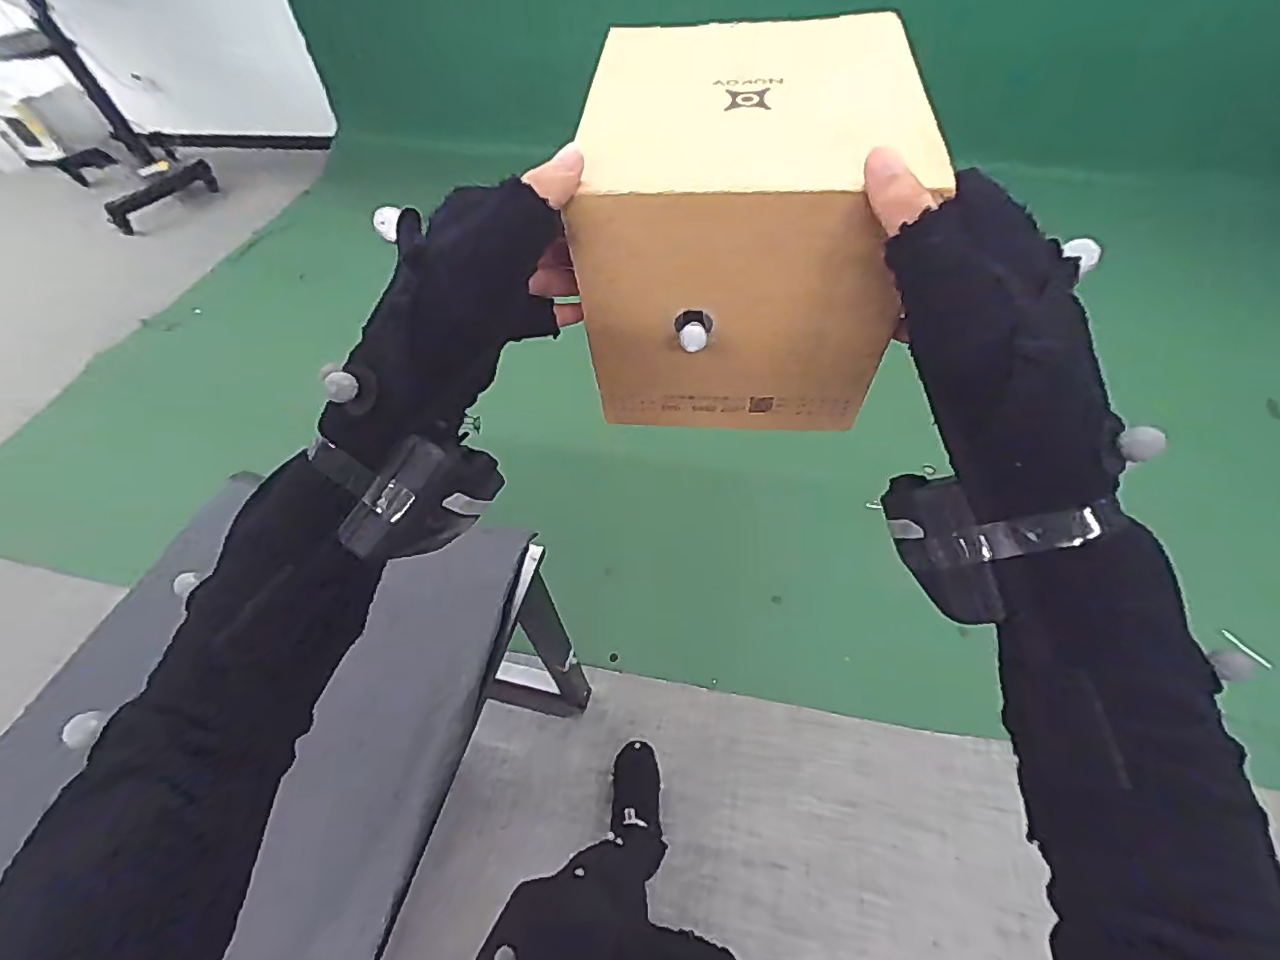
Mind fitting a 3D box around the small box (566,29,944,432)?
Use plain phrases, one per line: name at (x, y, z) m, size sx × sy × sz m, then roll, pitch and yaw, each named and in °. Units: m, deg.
small box at (0.062, -0.146, 0.344) m, size 0.168 × 0.176 × 0.179 m, roll 3°, pitch 57°, yaw 7°
